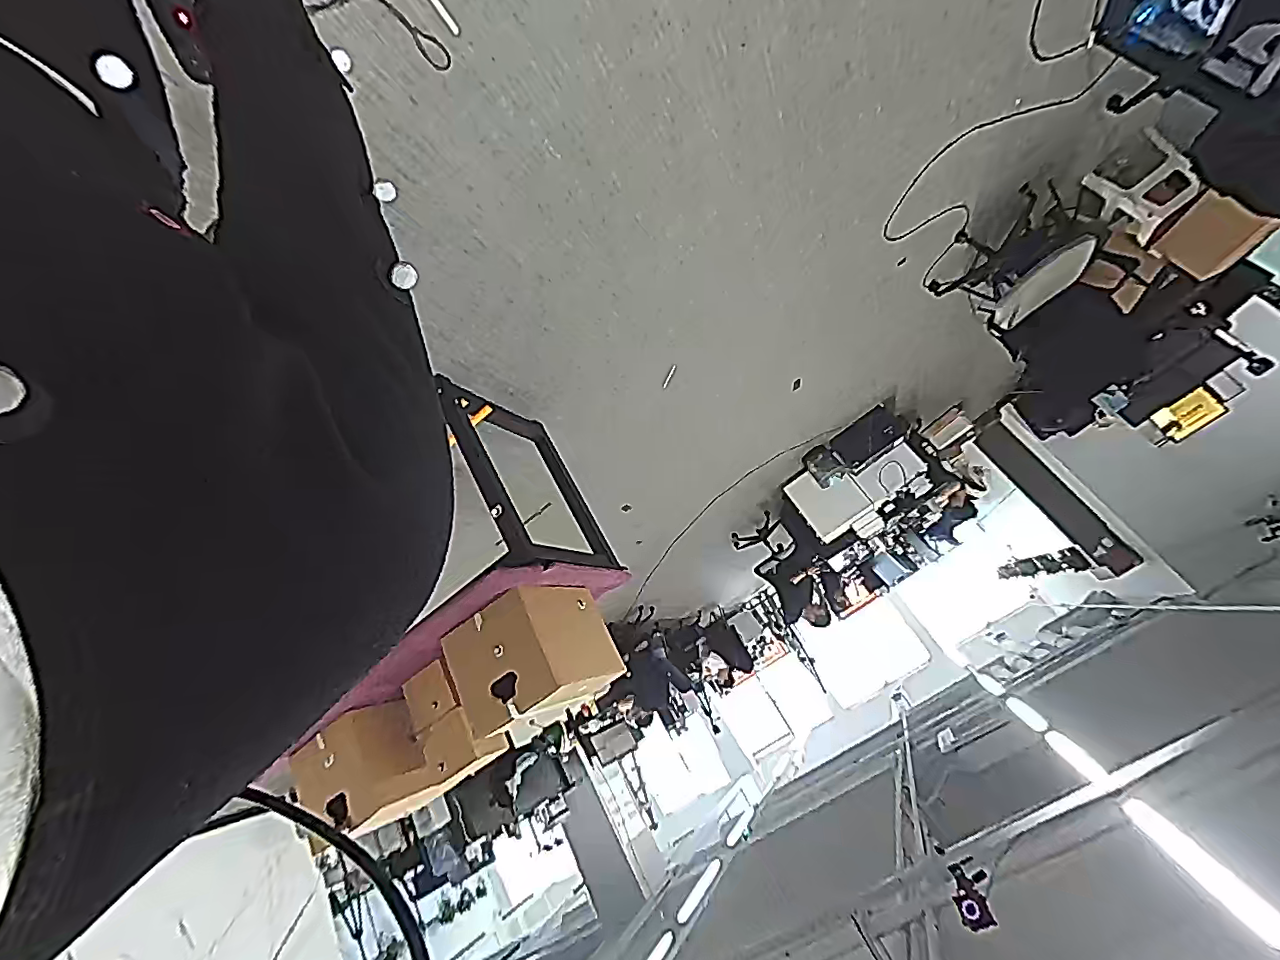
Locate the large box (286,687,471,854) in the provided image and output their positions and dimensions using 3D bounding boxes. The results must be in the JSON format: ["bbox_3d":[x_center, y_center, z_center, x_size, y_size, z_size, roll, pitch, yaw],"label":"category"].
[{"bbox_3d":[-0.862,0.938,1.804,0.320,0.320,0.408,-37,158,13],"label":"large box"}]
